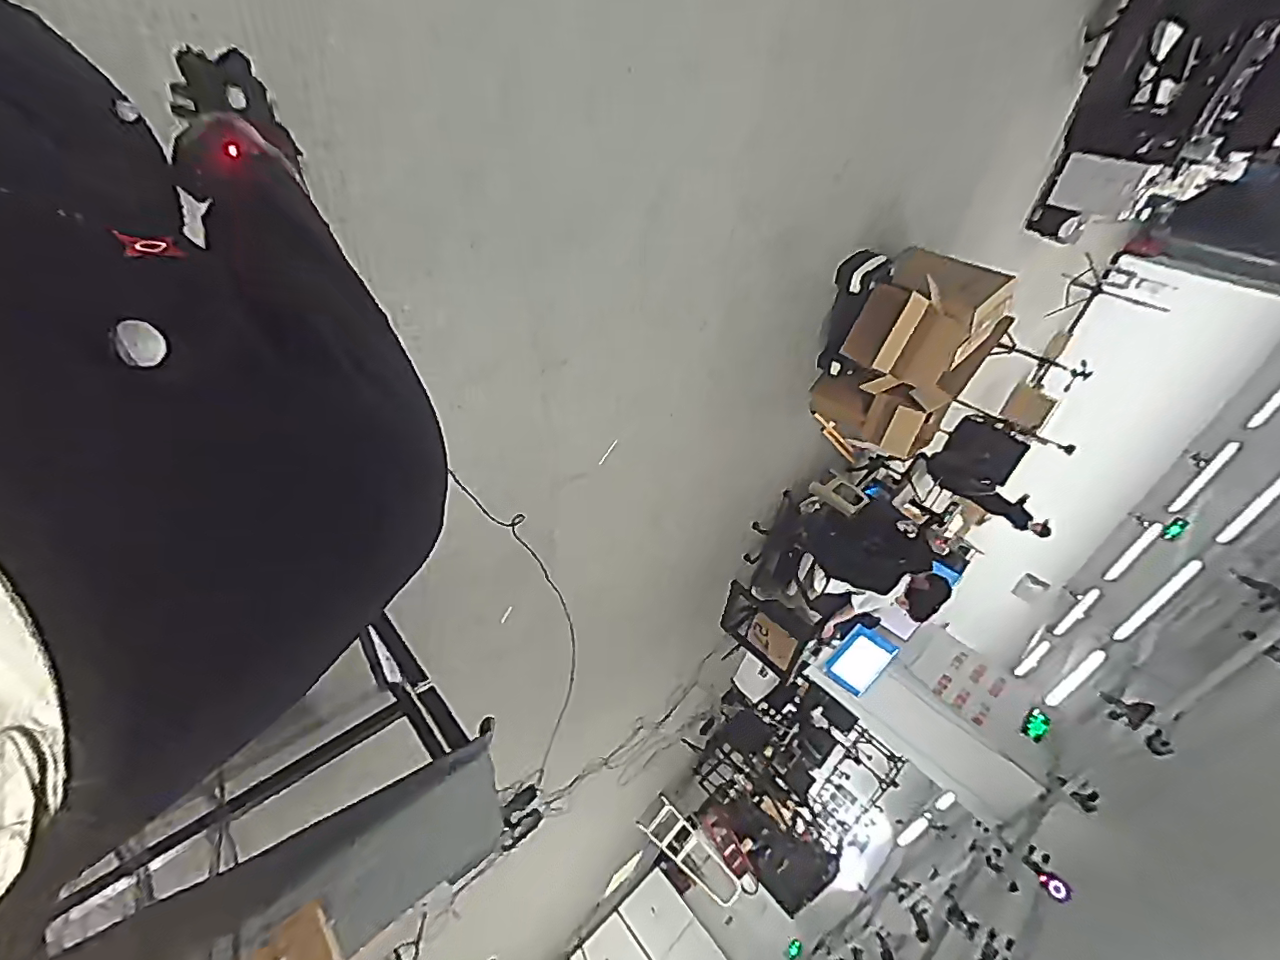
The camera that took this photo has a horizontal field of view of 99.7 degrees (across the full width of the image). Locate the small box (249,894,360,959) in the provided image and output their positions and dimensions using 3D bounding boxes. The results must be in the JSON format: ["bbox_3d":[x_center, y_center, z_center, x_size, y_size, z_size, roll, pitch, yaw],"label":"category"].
[{"bbox_3d":[-0.771,1.112,1.251,0.168,0.176,0.179,-25,138,-35],"label":"small box"}]
